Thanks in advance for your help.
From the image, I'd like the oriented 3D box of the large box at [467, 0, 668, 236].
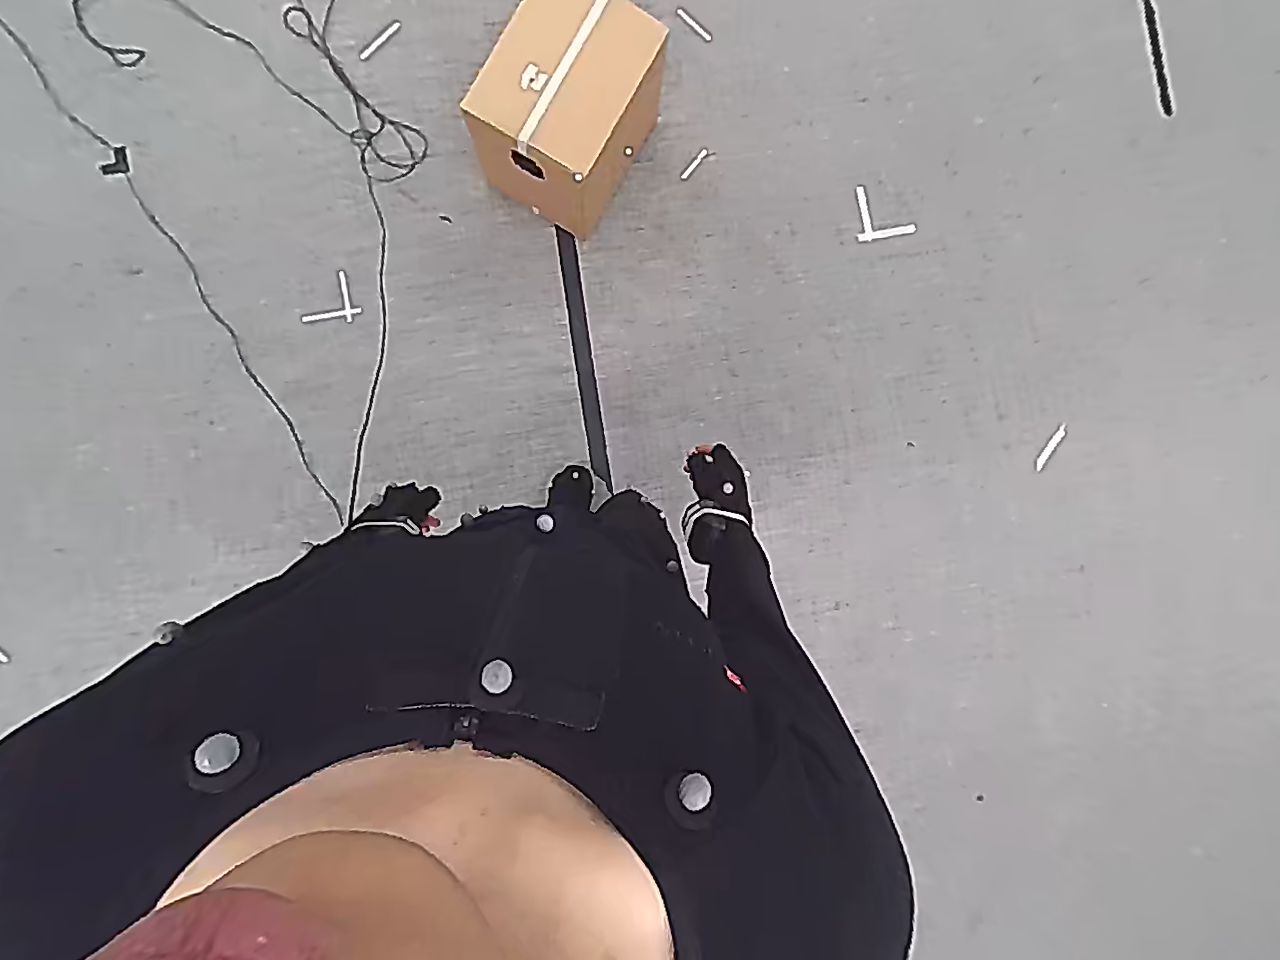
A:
[{"bbox_3d":[-0.169,-0.917,1.351,0.320,0.320,0.408,29,88,-3],"label":"large box"}]
